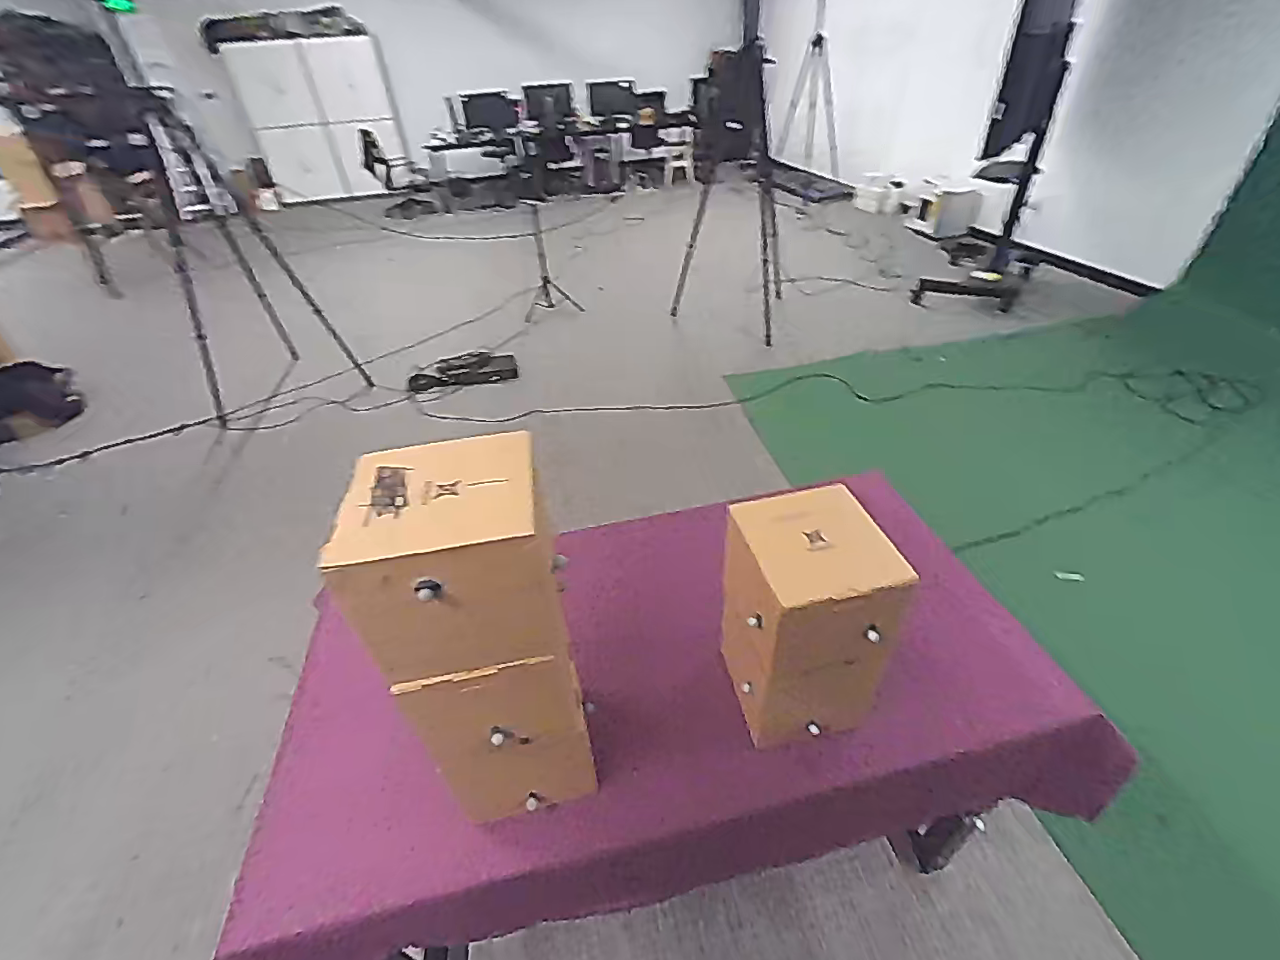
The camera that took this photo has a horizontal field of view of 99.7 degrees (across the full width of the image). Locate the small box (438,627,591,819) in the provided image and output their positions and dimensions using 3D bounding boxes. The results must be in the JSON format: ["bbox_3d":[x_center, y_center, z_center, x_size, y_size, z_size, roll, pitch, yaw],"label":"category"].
[{"bbox_3d":[-0.168,0.336,0.755,0.179,0.176,0.168,-11,39,-9],"label":"small box"}]

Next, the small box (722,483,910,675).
[{"bbox_3d":[0.213,0.133,0.708,0.168,0.176,0.179,-10,39,-8],"label":"small box"}]

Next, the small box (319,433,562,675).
[{"bbox_3d":[-0.184,0.075,0.553,0.179,0.176,0.168,-9,39,-7],"label":"small box"}]

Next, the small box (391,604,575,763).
[{"bbox_3d":[-0.178,0.204,0.655,0.168,0.176,0.179,-11,40,-7],"label":"small box"}]
